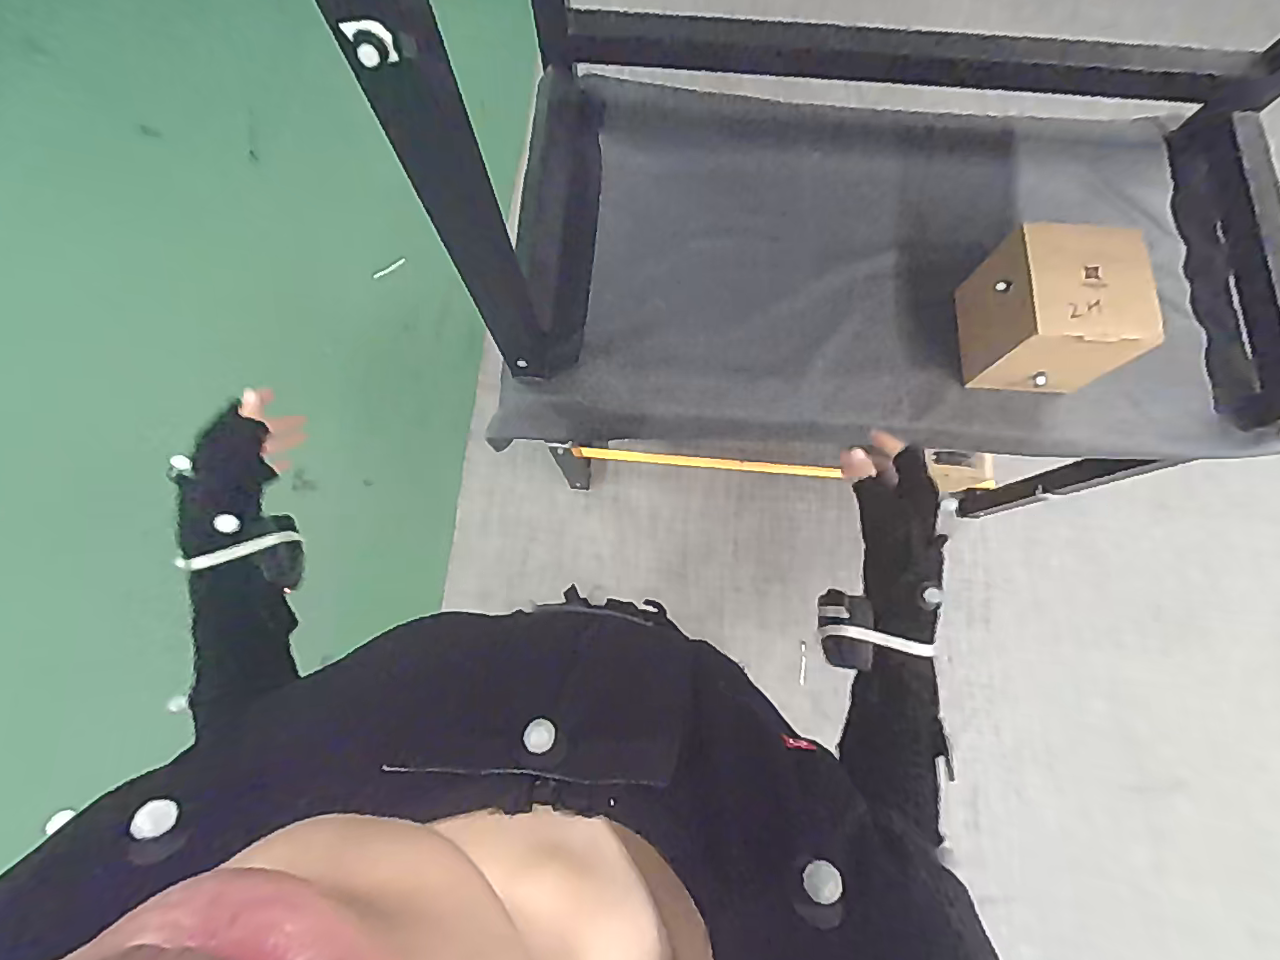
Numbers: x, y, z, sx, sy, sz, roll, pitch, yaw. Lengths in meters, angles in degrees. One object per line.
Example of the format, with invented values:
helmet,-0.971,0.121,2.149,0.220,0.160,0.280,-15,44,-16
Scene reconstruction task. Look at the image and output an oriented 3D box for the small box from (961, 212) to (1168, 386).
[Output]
small box,0.599,-0.257,0.791,0.168,0.176,0.179,3,75,1
